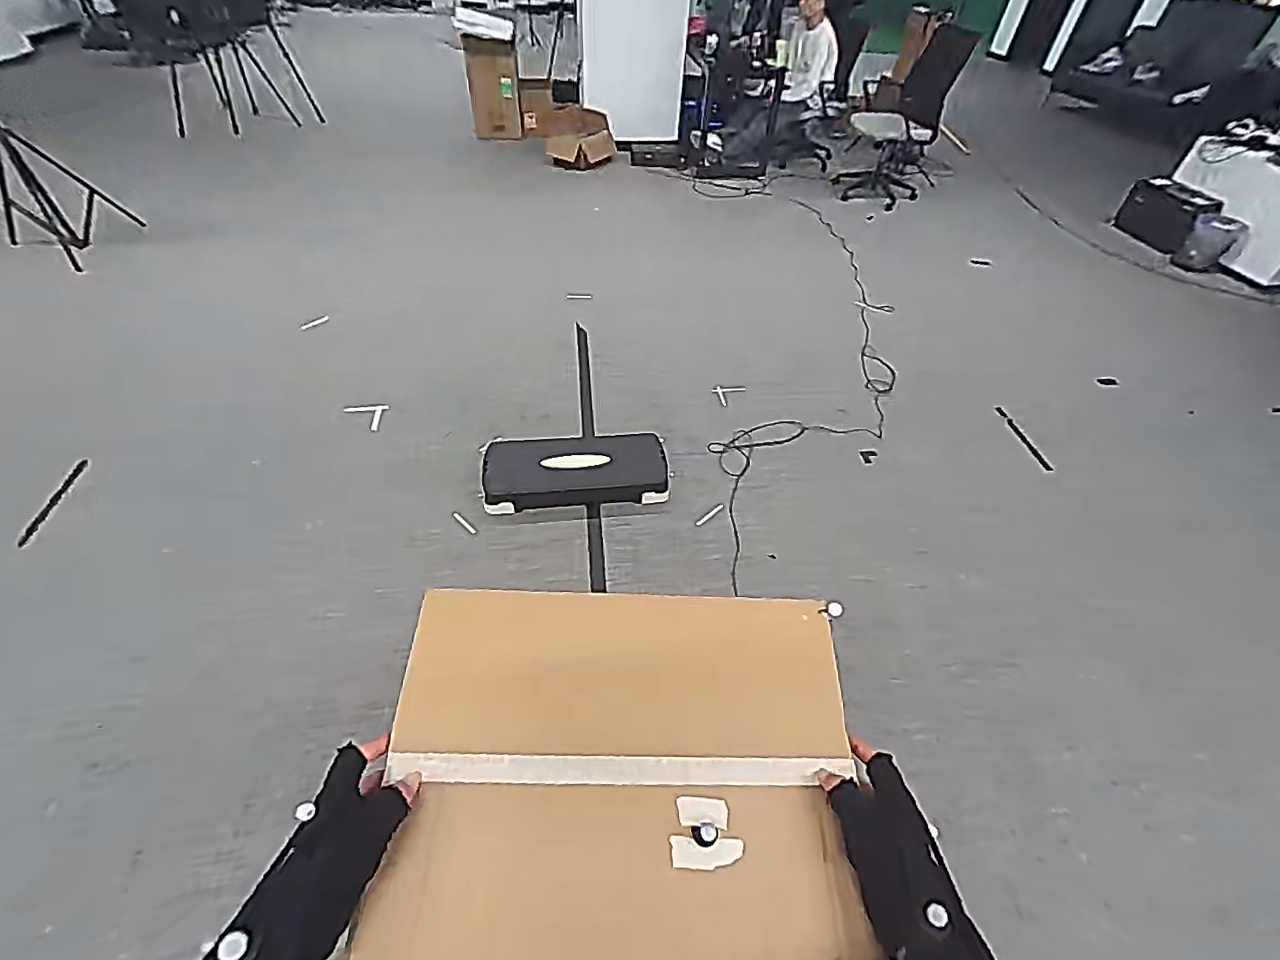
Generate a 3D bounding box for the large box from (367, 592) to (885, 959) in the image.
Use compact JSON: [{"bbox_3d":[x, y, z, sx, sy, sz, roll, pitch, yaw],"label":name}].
[{"bbox_3d":[-0.018,0.328,0.607,0.408,0.320,0.320,2,59,-3],"label":"large box"}]
